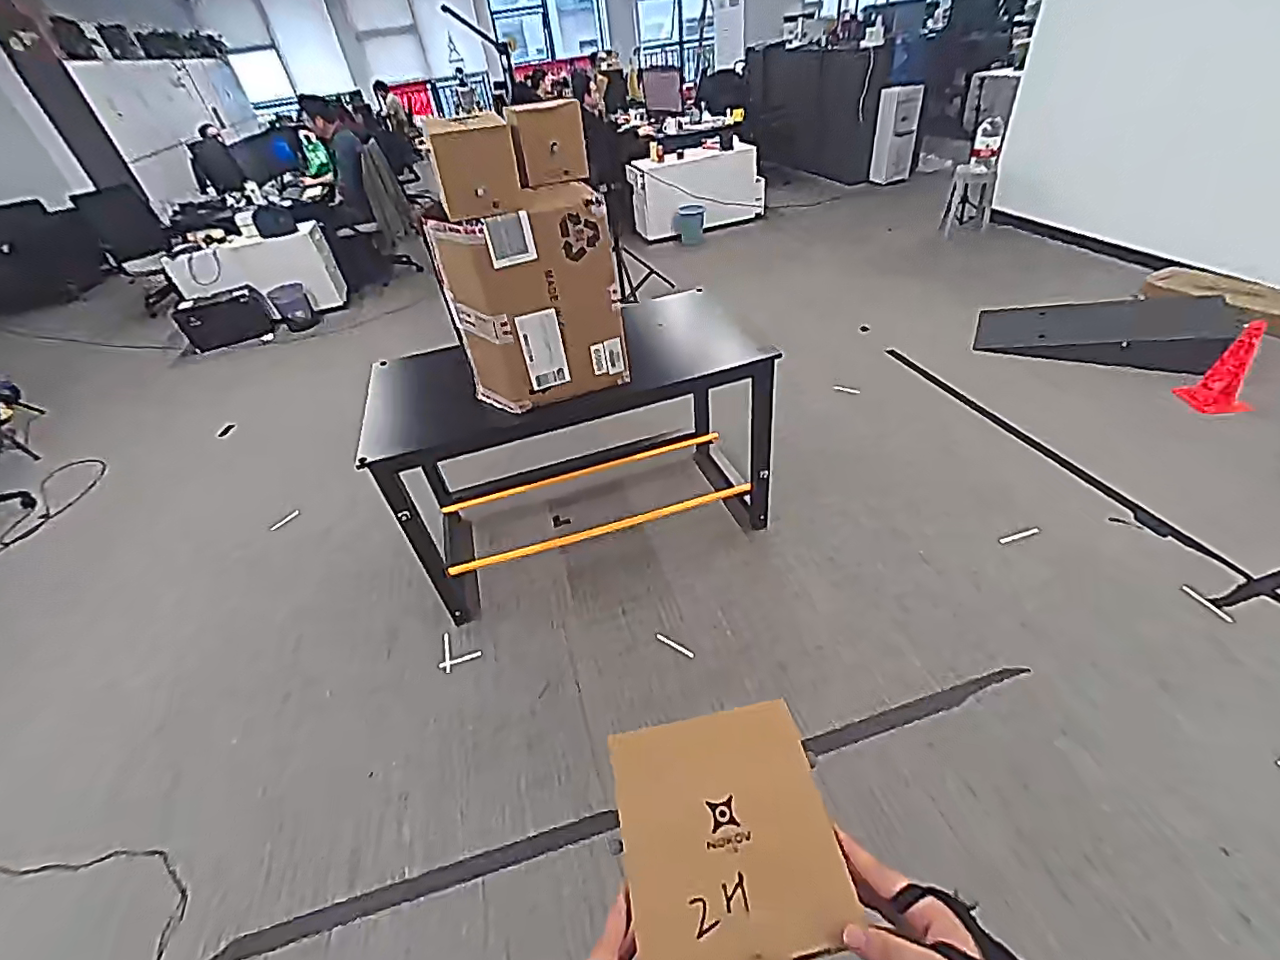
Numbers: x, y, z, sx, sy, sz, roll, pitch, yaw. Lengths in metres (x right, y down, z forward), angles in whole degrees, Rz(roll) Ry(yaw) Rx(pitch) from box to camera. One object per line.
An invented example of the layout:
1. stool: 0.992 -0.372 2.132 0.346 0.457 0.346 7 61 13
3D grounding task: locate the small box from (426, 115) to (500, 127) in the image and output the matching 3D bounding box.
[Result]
1. small box: -0.433 -0.822 1.384 0.168 0.176 0.179 -20 39 -13

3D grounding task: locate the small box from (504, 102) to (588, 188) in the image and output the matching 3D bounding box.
1. small box: -0.245 -0.878 1.421 0.168 0.176 0.179 -17 40 -14

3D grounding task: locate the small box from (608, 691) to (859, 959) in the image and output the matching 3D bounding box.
1. small box: 0.070 0.324 0.493 0.168 0.176 0.179 -11 46 -3

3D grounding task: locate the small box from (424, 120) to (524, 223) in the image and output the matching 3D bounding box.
1. small box: -0.369 -0.690 1.209 0.168 0.176 0.179 -18 43 -14
